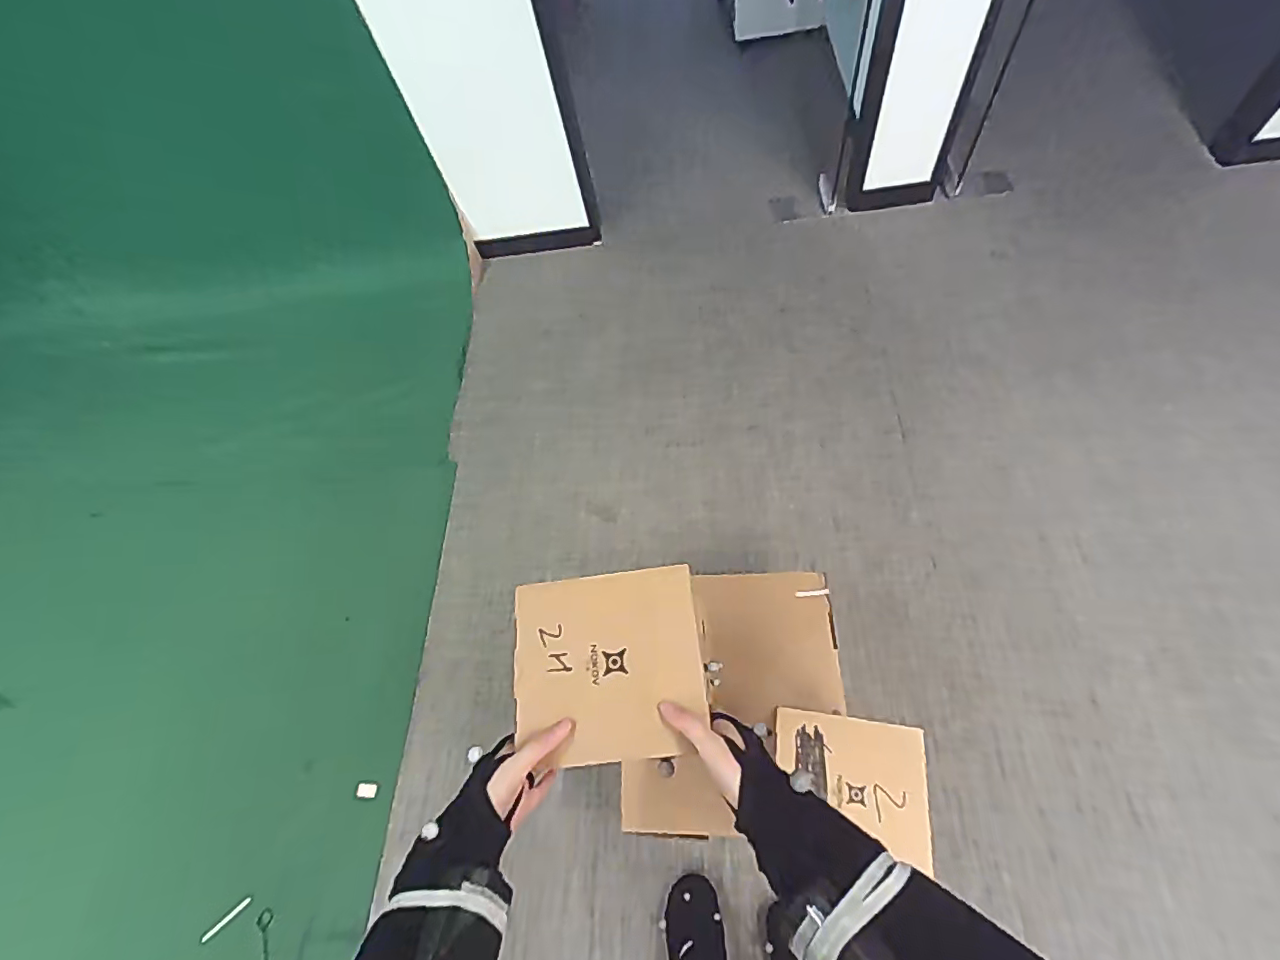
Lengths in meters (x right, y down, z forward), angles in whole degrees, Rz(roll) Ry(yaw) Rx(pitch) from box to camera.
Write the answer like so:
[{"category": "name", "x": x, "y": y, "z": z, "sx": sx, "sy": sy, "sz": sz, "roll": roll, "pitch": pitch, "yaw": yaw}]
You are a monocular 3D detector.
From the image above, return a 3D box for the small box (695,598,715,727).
[{"category": "small box", "x": 0.016, "y": 0.286, "z": 0.810, "sx": 0.179, "sy": 0.176, "sz": 0.168, "roll": -5, "pitch": 59, "yaw": 7}]

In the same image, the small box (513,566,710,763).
[{"category": "small box", "x": -0.022, "y": 0.199, "z": 0.573, "sx": 0.179, "sy": 0.176, "sz": 0.168, "roll": -7, "pitch": 64, "yaw": 5}]

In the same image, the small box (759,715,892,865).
[{"category": "small box", "x": 0.276, "y": 0.477, "z": 0.845, "sx": 0.168, "sy": 0.176, "sz": 0.179, "roll": 0, "pitch": 61, "yaw": 9}]
